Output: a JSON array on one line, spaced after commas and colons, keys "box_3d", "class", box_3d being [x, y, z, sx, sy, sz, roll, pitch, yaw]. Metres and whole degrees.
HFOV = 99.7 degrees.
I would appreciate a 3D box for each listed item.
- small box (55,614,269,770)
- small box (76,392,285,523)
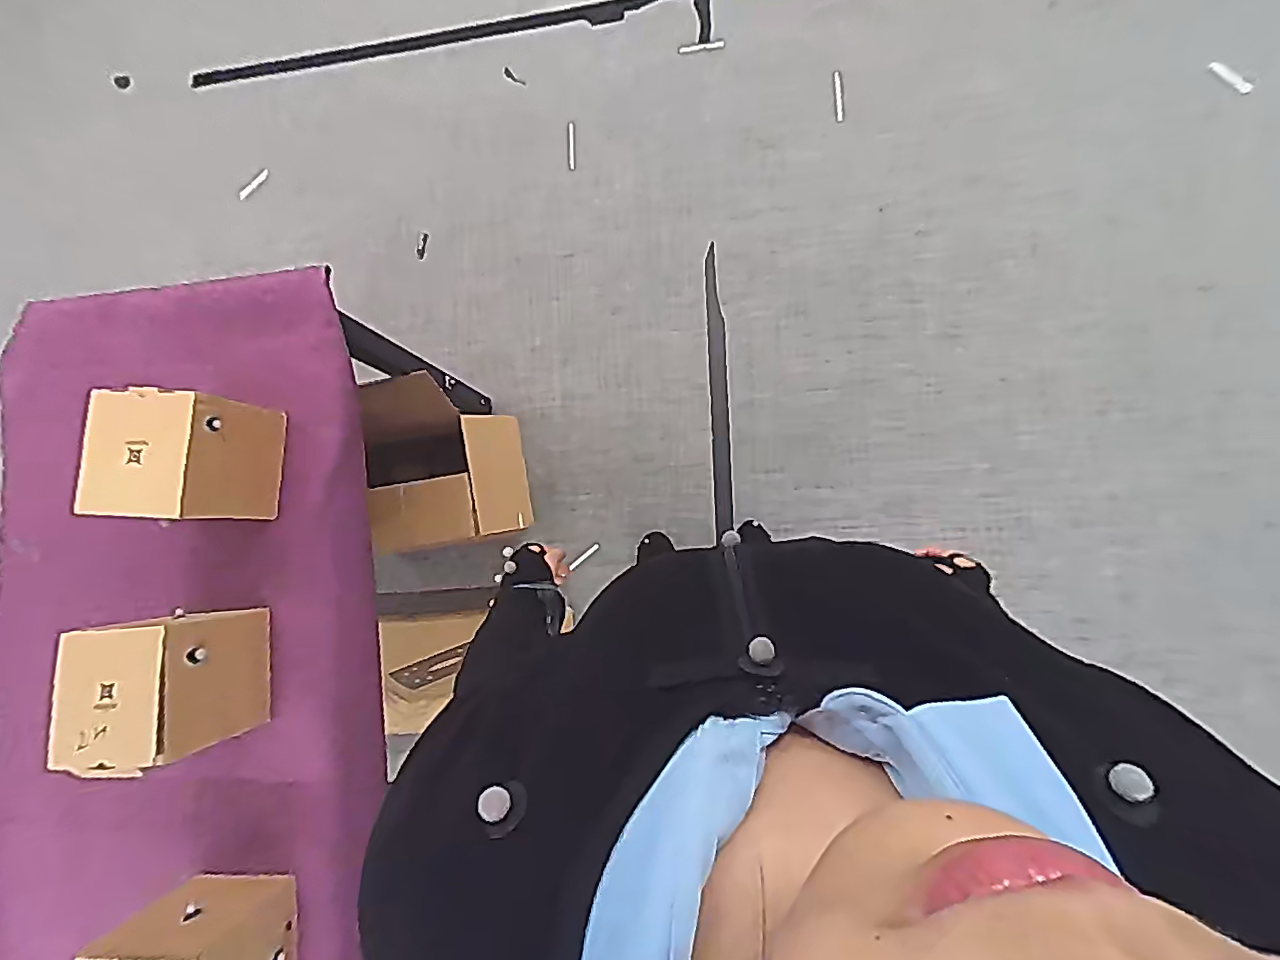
[{"box_3d": [-0.669, 0.291, 0.776, 0.168, 0.176, 0.179, -6, 84, 9], "class": "small box"}, {"box_3d": [-0.671, -0.025, 0.809, 0.168, 0.176, 0.179, 2, 84, 8], "class": "small box"}]
